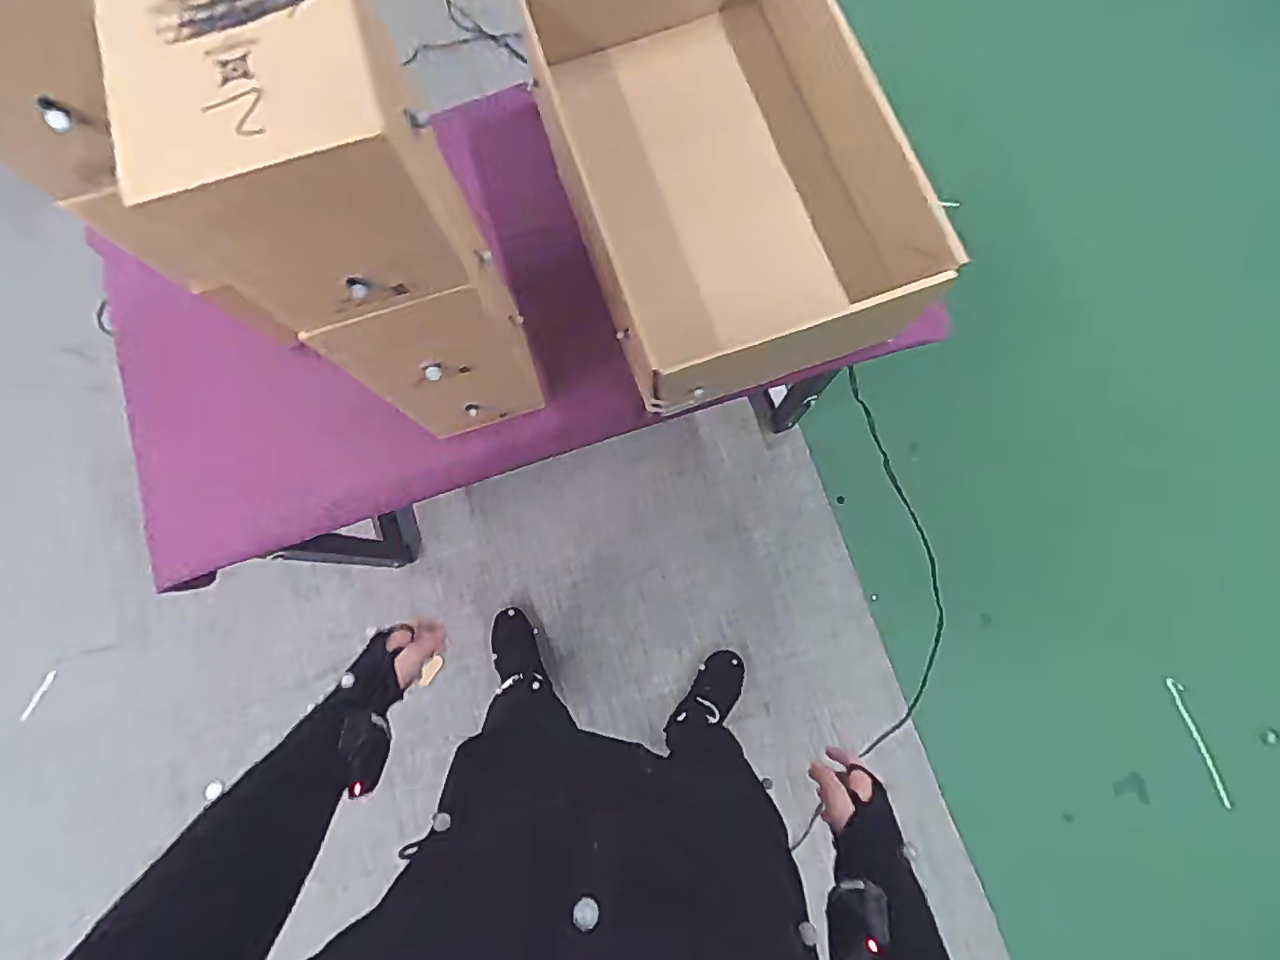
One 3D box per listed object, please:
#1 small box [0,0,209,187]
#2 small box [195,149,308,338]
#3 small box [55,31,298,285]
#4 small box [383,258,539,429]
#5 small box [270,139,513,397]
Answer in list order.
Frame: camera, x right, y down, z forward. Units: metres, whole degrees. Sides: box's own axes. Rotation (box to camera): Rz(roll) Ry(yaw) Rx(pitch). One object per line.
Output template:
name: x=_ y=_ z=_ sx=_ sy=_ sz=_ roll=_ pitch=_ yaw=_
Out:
small box: x=-0.523 y=-0.390 z=0.468 sx=0.168 sy=0.176 sz=0.179 roll=-19 pitch=79 yaw=-3
small box: x=-0.514 y=-0.327 z=0.788 sx=0.168 sy=0.176 sz=0.179 roll=-18 pitch=79 yaw=-3
small box: x=-0.518 y=-0.353 z=0.628 sx=0.168 sy=0.176 sz=0.179 roll=-19 pitch=78 yaw=-2
small box: x=-0.251 y=-0.183 z=0.748 sx=0.168 sy=0.176 sz=0.179 roll=-17 pitch=79 yaw=-2
small box: x=-0.255 y=-0.215 z=0.588 sx=0.168 sy=0.176 sz=0.179 roll=-18 pitch=79 yaw=-1
